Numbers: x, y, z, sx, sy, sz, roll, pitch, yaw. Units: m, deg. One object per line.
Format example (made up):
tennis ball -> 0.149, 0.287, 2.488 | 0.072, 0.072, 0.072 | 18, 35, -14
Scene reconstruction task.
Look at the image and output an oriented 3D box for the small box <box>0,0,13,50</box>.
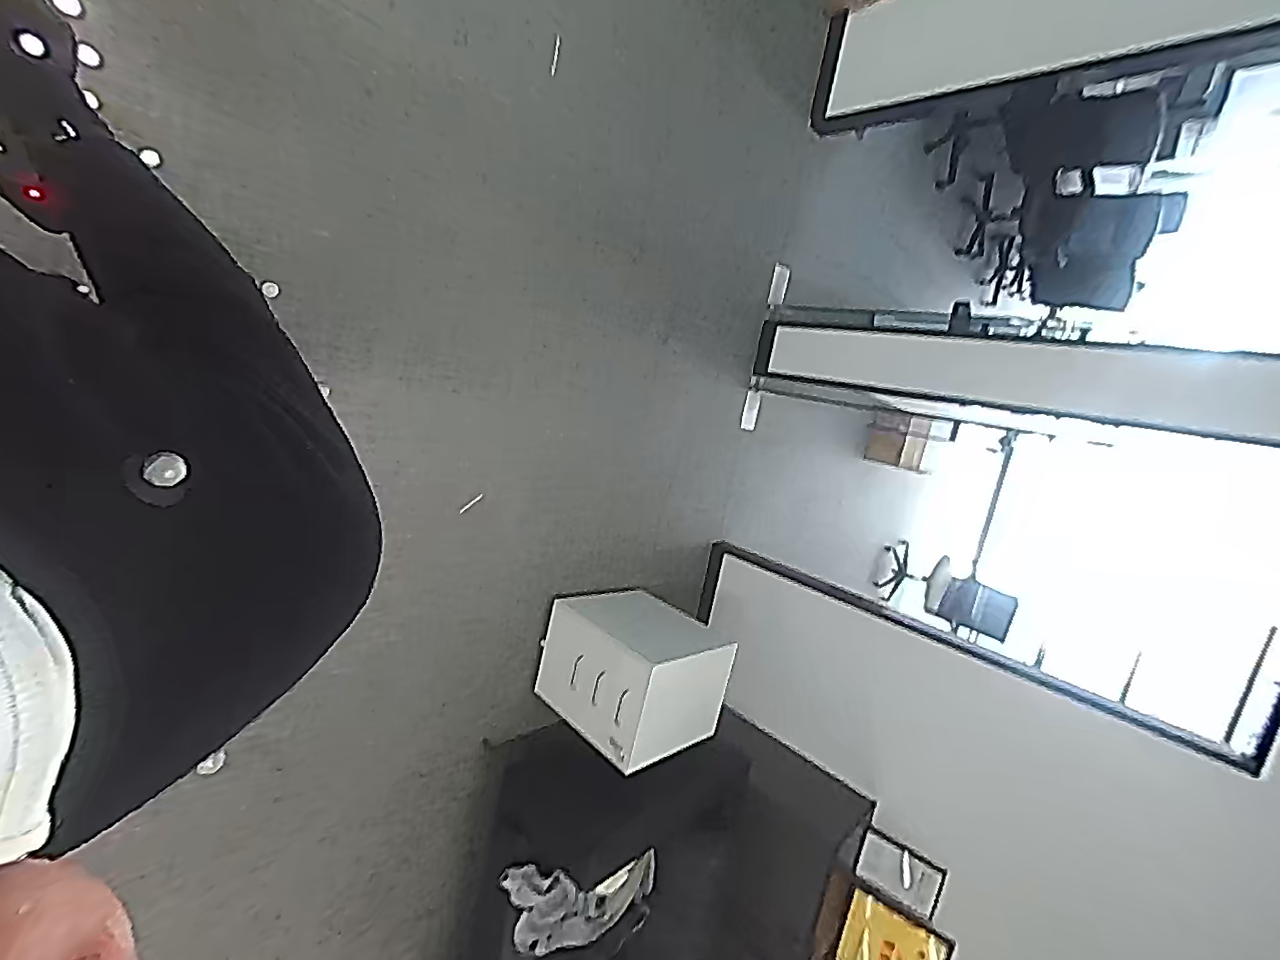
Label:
small box -> -0.614, -0.462, 0.401 | 0.179, 0.176, 0.168 | -5, 100, -40
